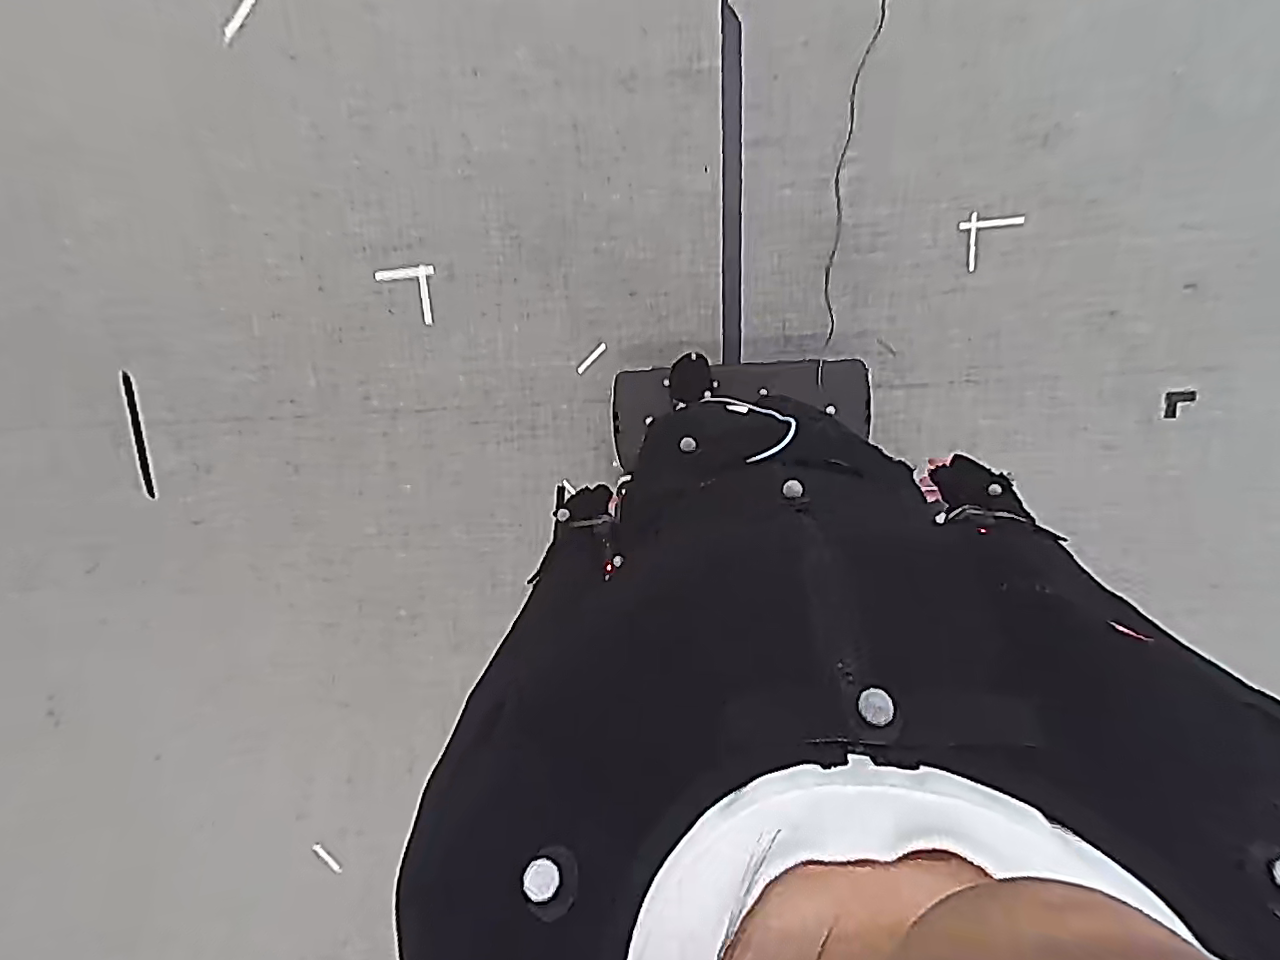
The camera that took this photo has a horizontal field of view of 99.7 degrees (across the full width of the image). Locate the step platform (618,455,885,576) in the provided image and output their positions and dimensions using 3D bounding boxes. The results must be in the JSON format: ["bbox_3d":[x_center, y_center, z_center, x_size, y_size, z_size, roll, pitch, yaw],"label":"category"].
[{"bbox_3d":[0.282,0.097,1.446,0.684,0.204,0.286,-3,98,7],"label":"step platform"}]
